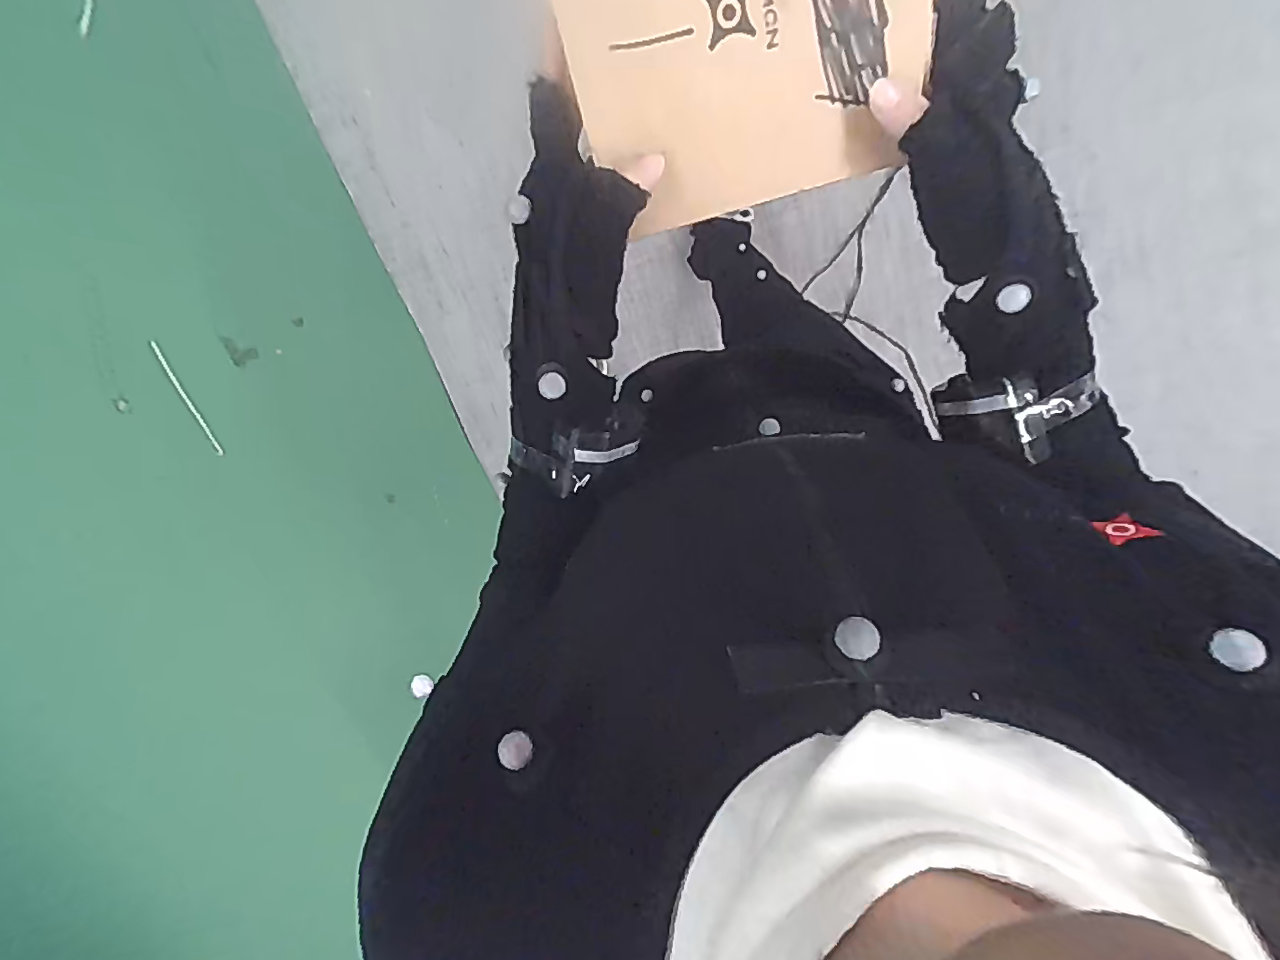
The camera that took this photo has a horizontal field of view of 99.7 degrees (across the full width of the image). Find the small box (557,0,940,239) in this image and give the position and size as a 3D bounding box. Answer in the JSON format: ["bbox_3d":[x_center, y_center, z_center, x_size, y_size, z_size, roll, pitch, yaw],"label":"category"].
[{"bbox_3d":[0.048,-0.270,0.320,0.179,0.176,0.168,-16,124,7],"label":"small box"}]
